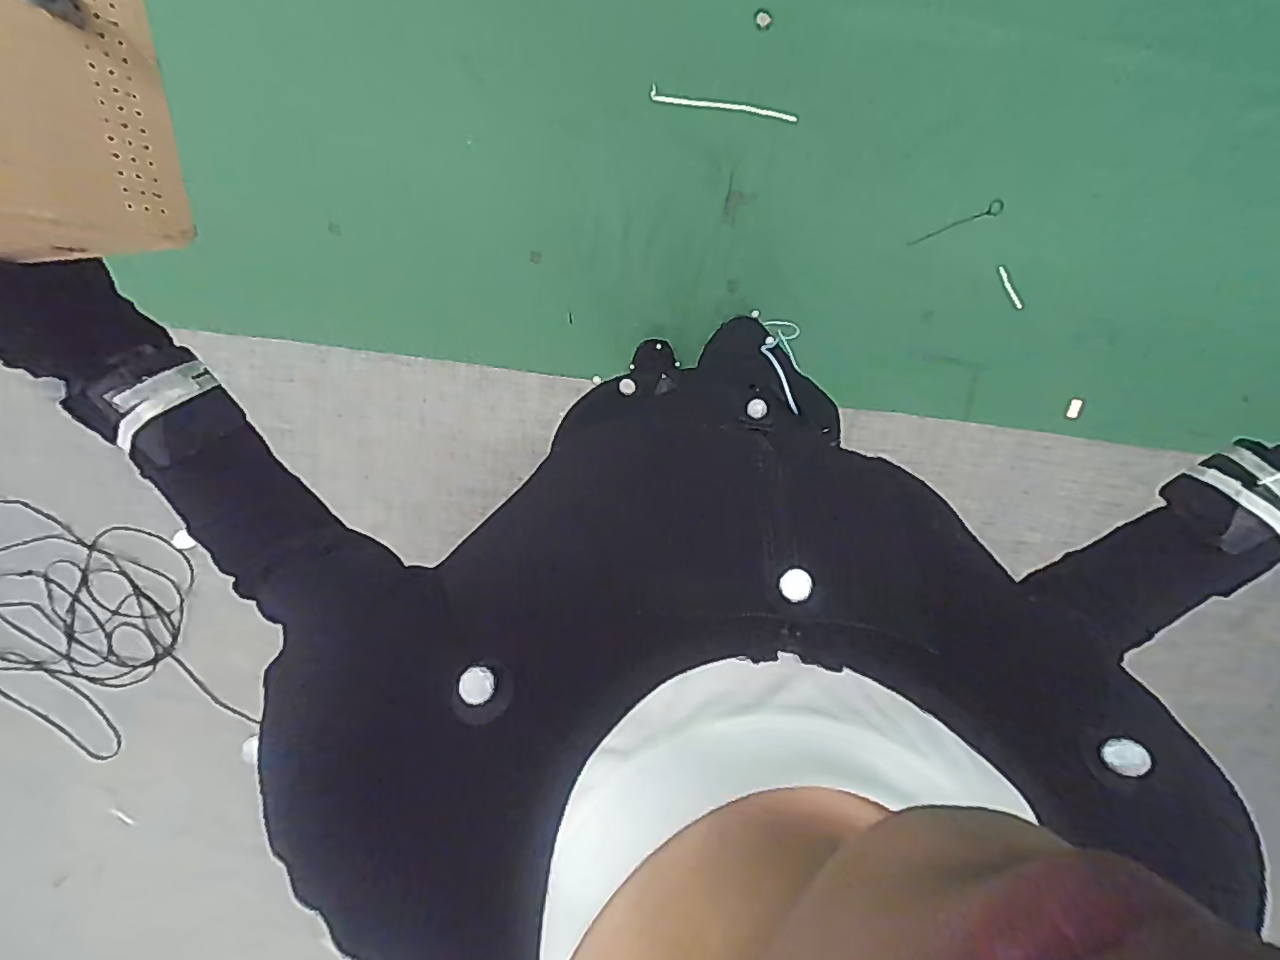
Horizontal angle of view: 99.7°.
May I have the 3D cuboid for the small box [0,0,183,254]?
[{"bbox_3d":[-0.306,-0.178,0.174,0.168,0.176,0.179,5,107,17],"label":"small box"}]
